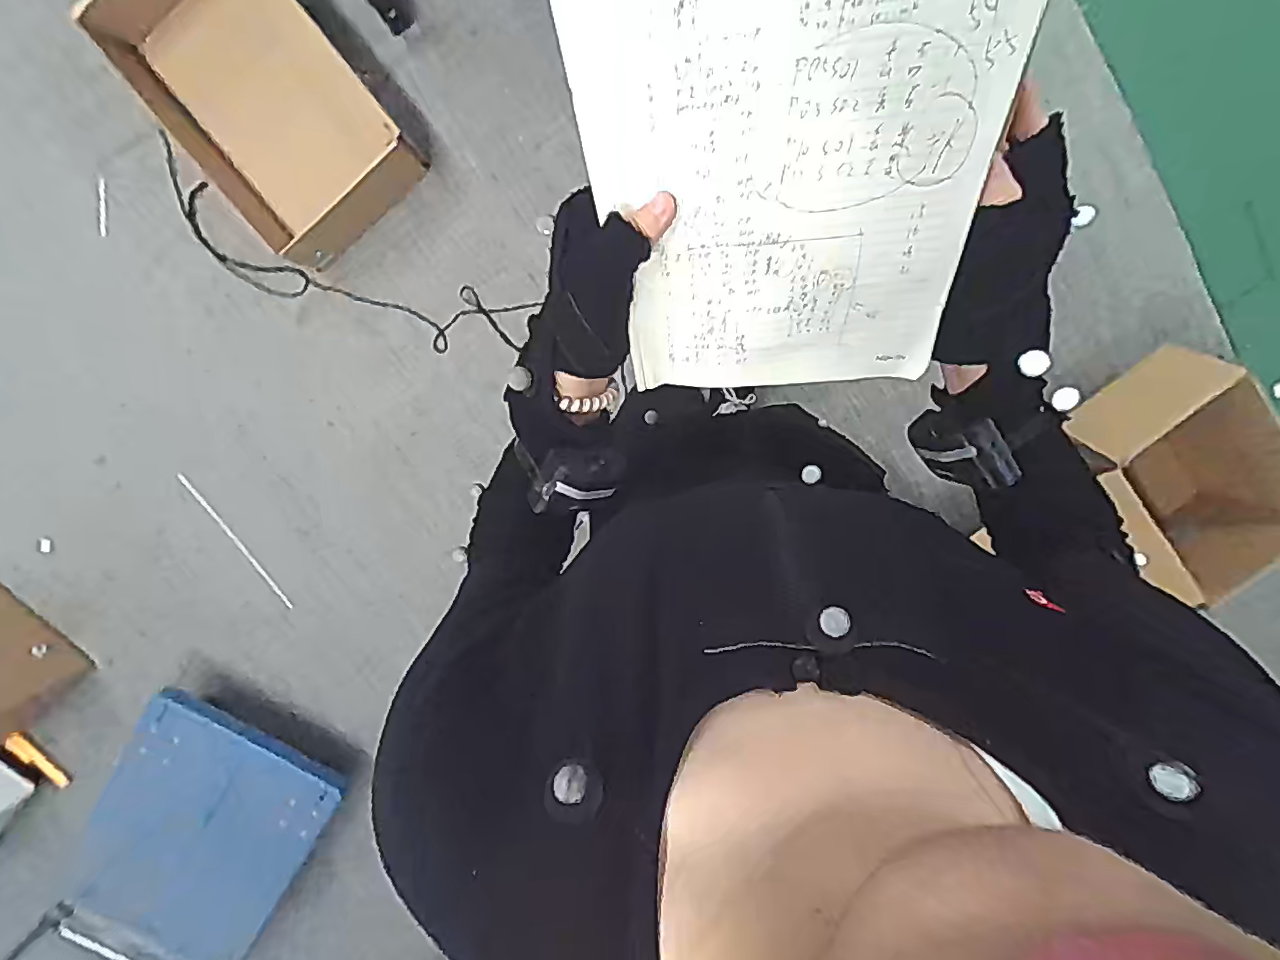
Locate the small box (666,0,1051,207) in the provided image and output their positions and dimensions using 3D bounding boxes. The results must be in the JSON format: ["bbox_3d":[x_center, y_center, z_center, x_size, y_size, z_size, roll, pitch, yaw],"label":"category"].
[{"bbox_3d":[0.106,-0.263,0.319,0.179,0.176,0.168,1,125,3],"label":"small box"}]
